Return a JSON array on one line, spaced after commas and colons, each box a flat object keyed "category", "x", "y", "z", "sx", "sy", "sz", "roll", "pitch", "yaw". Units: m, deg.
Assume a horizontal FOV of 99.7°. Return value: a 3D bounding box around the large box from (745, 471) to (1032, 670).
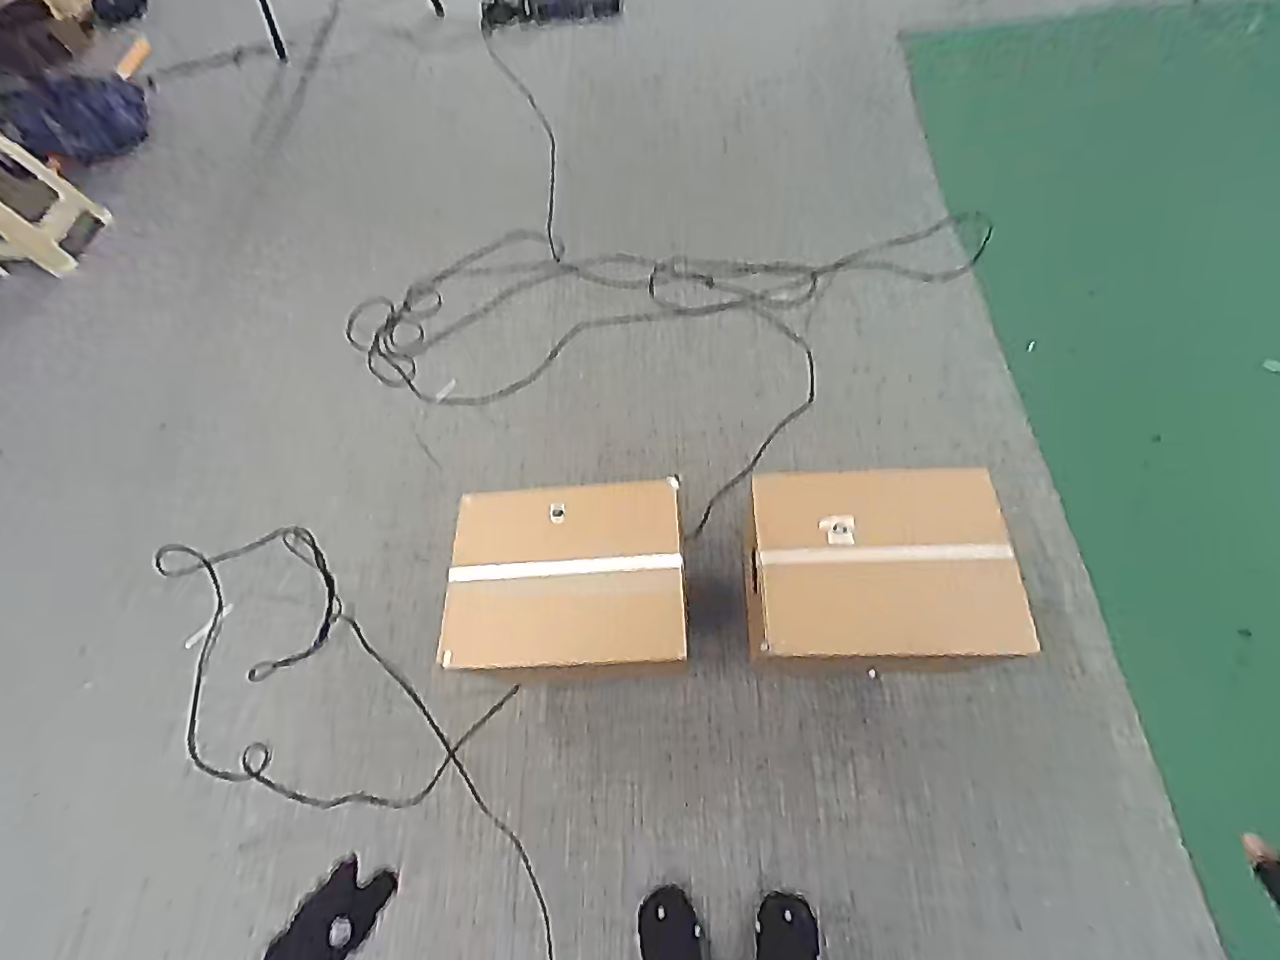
[{"category": "large box", "x": 0.422, "y": 0.193, "z": 1.038, "sx": 0.408, "sy": 0.320, "sz": 0.320, "roll": -2, "pitch": 65, "yaw": 6}]
